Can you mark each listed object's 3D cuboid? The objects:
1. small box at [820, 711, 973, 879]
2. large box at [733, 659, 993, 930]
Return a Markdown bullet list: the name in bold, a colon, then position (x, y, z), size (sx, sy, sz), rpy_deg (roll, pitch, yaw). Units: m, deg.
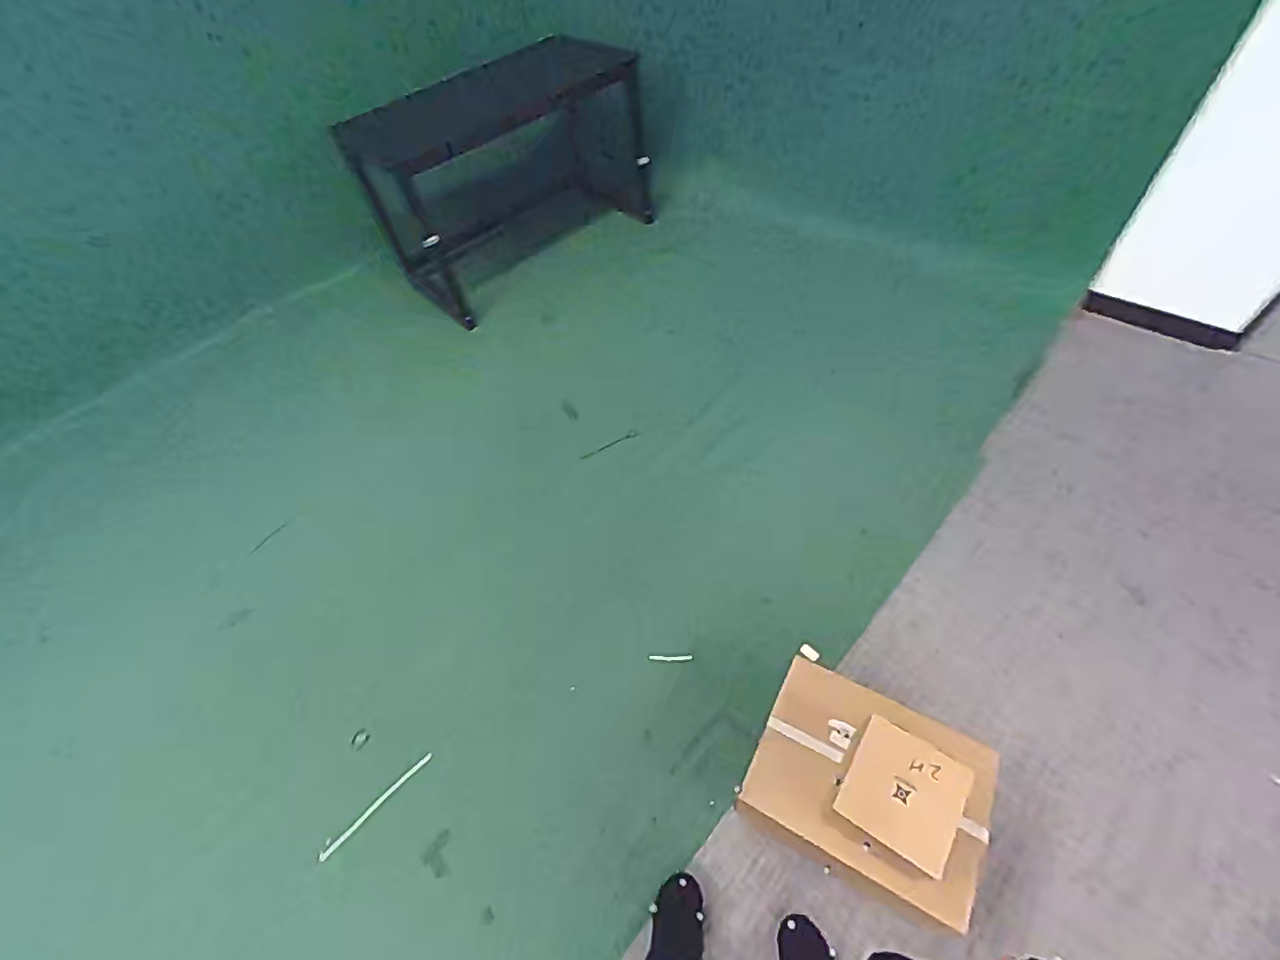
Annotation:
- **small box**: position (0.421, 0.532, 0.915), size (0.168, 0.176, 0.179), rpy_deg (28, 62, 24)
- **large box**: position (0.442, 0.647, 1.137), size (0.408, 0.320, 0.320), rpy_deg (21, 58, 23)
